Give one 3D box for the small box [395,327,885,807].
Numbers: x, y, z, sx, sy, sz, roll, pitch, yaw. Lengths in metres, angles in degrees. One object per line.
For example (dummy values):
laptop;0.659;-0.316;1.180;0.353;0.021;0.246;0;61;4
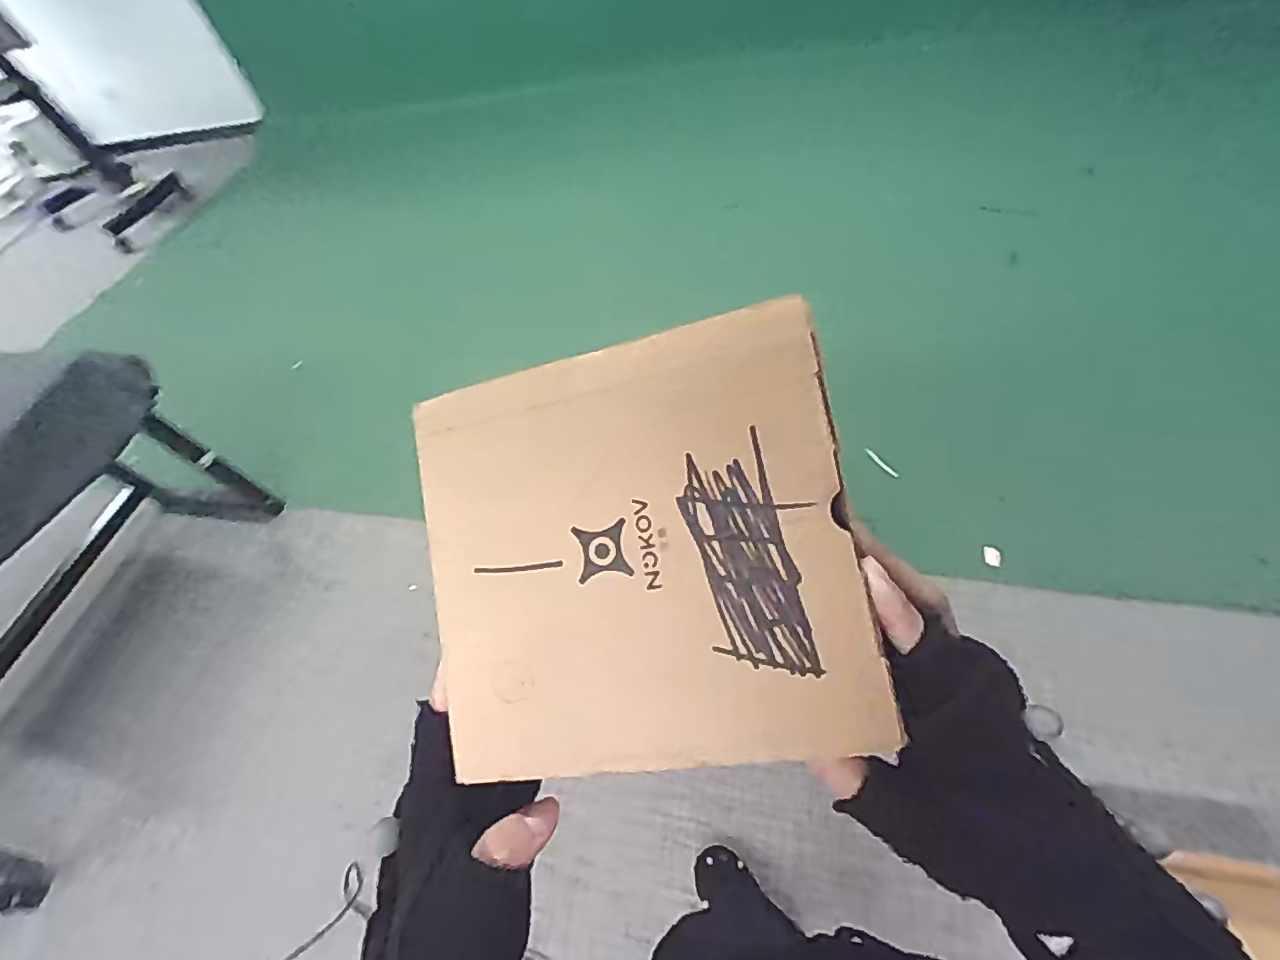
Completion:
small box;0.006;0.043;0.297;0.179;0.176;0.168;-15;82;12
